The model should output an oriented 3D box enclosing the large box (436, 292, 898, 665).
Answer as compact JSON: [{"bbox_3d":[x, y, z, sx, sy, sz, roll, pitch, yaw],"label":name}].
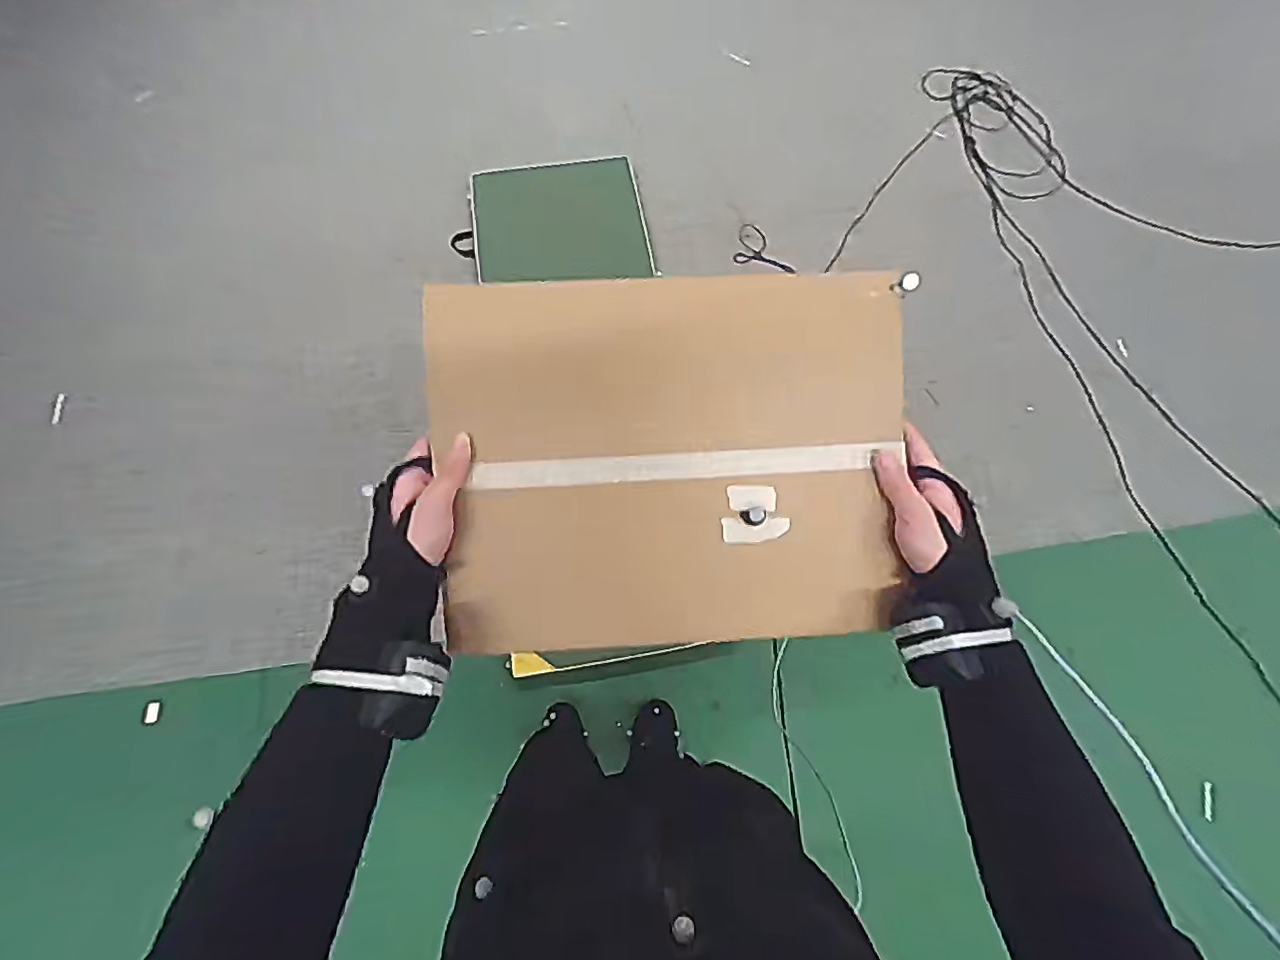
[{"bbox_3d":[0.021,-0.006,0.630,0.408,0.320,0.320,-4,93,-3],"label":"large box"}]
